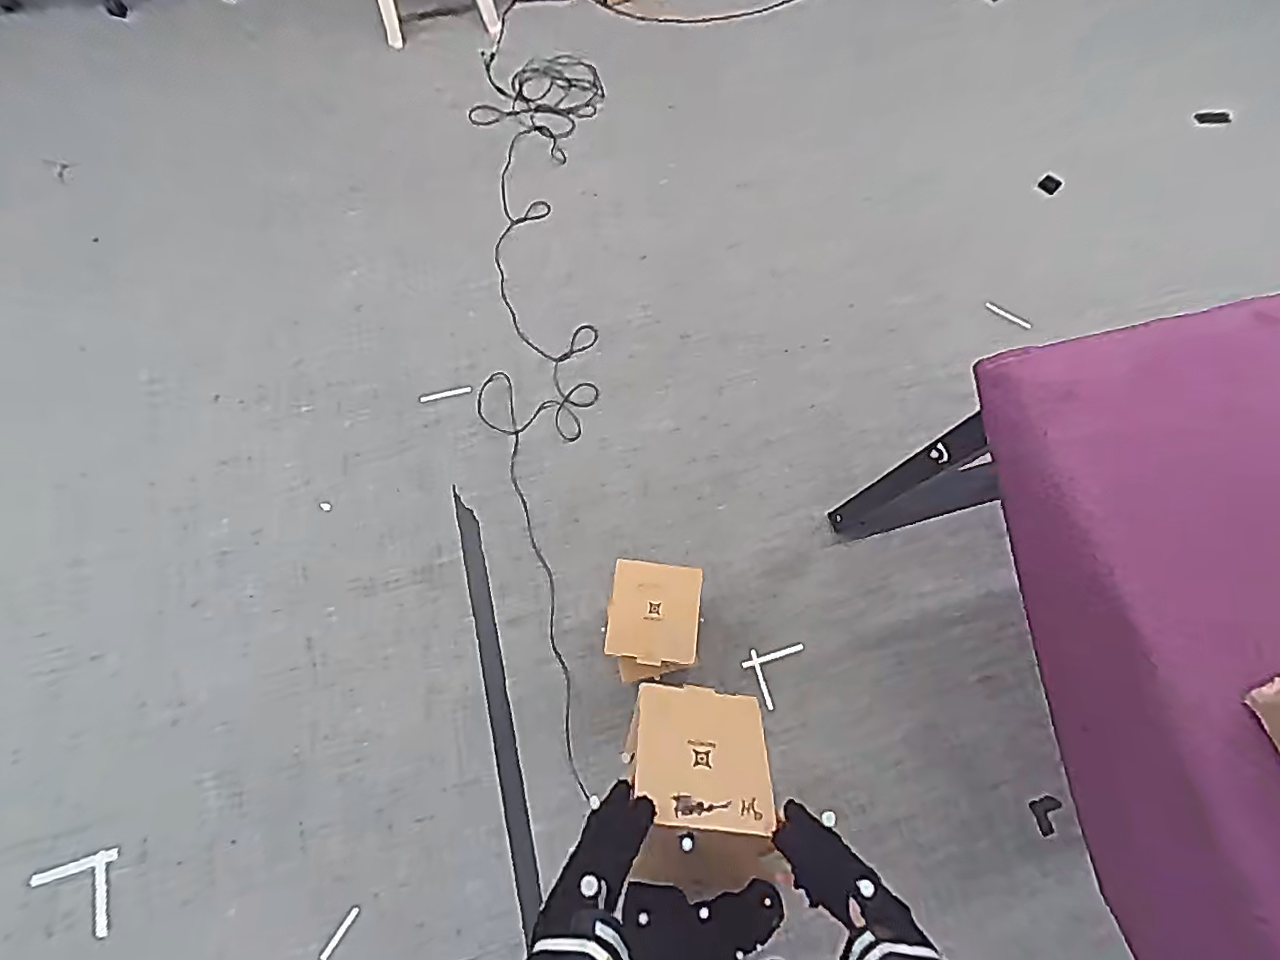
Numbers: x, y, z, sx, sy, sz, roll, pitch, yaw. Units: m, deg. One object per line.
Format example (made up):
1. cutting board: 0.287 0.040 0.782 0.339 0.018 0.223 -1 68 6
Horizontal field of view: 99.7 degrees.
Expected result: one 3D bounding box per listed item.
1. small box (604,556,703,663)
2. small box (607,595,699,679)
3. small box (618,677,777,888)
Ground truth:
1. small box: 0.025 0.257 1.057 0.168 0.176 0.179 7 72 0
2. small box: 0.024 0.334 1.203 0.168 0.176 0.179 -12 74 -4
3. small box: 0.065 0.392 0.708 0.168 0.176 0.179 8 34 -2
